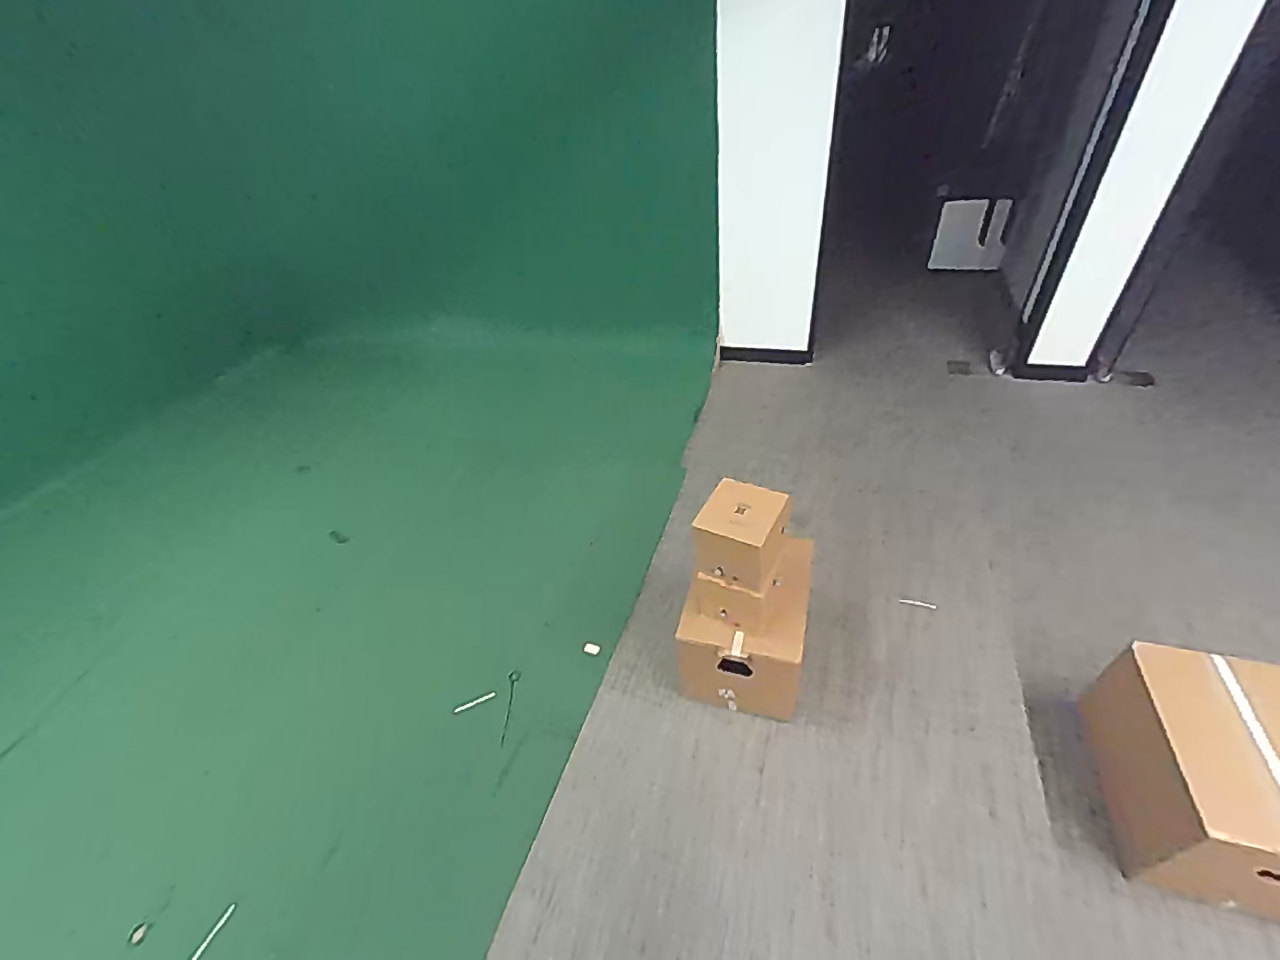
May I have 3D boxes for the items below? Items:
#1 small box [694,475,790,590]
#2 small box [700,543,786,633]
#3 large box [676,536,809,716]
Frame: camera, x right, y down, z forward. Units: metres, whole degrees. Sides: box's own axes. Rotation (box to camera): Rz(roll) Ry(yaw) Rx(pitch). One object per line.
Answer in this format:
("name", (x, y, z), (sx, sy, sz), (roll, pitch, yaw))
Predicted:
("small box", (0.238, 0.122, 1.265), (0.168, 0.176, 0.179), (17, 48, 27))
("small box", (0.259, 0.250, 1.364), (0.168, 0.176, 0.179), (15, 47, 25))
("large box", (0.306, 0.398, 1.559), (0.320, 0.320, 0.408), (7, 43, 16))
